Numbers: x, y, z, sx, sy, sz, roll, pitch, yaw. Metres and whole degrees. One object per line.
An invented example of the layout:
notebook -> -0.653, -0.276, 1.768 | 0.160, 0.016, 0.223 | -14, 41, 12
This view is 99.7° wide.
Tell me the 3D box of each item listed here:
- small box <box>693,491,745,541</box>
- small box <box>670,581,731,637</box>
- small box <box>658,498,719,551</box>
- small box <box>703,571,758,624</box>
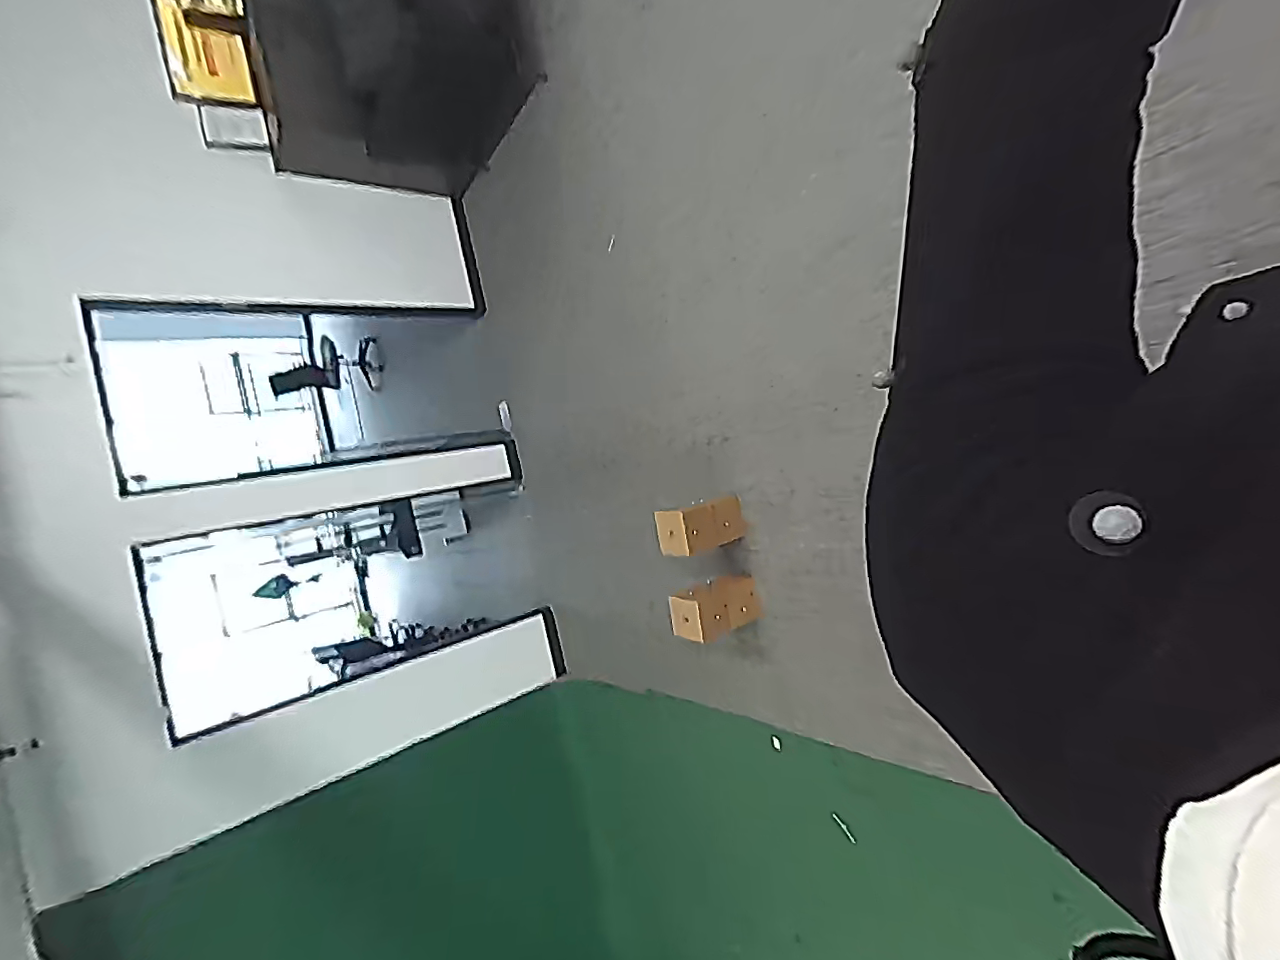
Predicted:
small box -> 0.320, 0.150, 2.257 | 0.168, 0.176, 0.179 | -8, 93, 53
small box -> 0.249, 0.511, 2.172 | 0.179, 0.176, 0.168 | -2, 97, 53
small box -> 0.198, 0.174, 2.150 | 0.168, 0.176, 0.179 | -6, 95, 53
small box -> 0.380, 0.489, 2.271 | 0.179, 0.176, 0.168 | -5, 96, 54
